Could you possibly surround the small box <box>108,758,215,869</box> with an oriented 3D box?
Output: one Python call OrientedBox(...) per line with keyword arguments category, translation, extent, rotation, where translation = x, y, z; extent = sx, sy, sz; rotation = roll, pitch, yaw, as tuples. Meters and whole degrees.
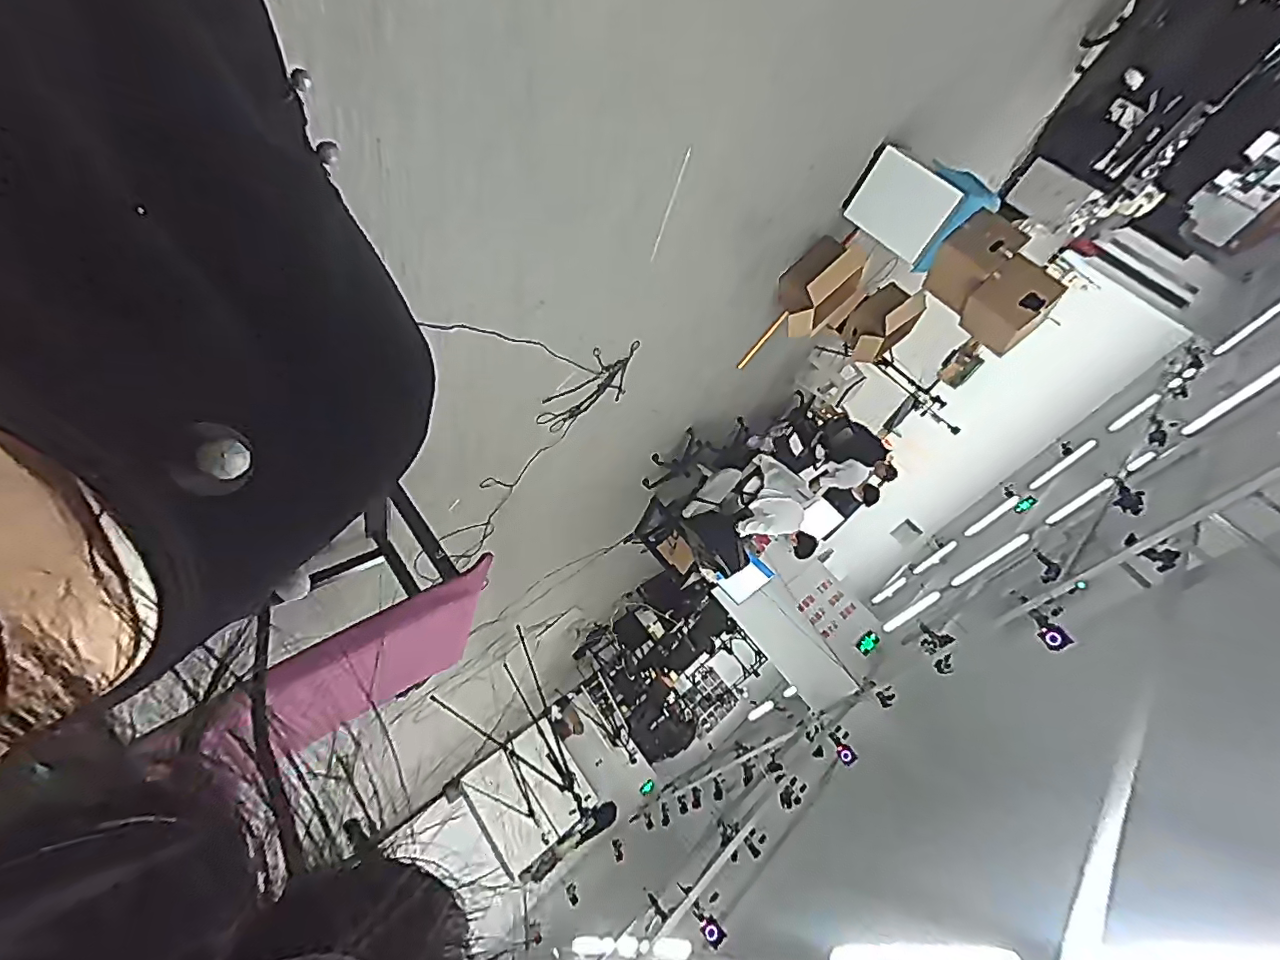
OrientedBox(category="small box", translation=(-1.251, 0.875, 1.421), extent=(0.179, 0.176, 0.168), rotation=(-25, 156, -38))
